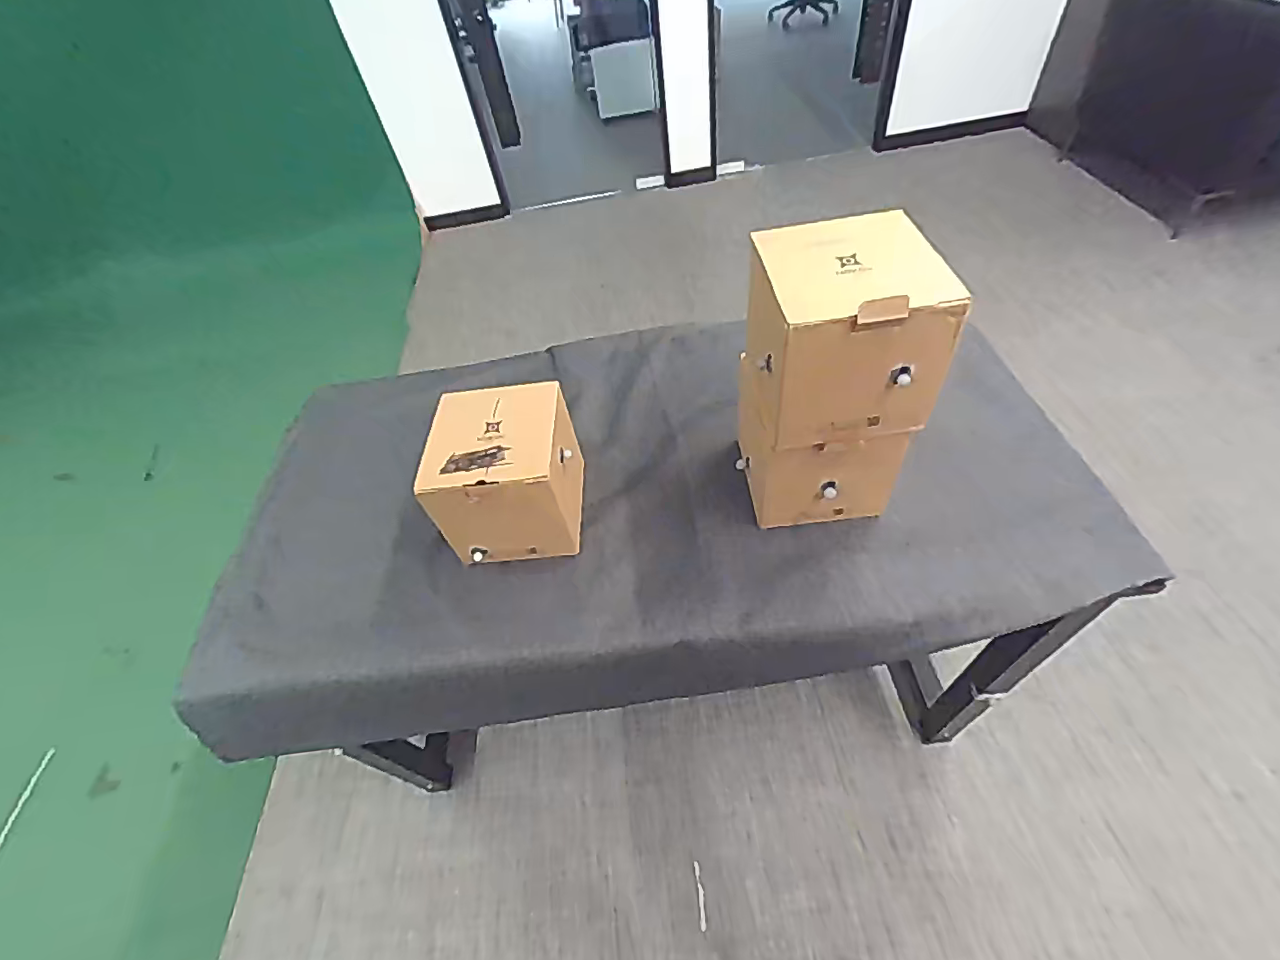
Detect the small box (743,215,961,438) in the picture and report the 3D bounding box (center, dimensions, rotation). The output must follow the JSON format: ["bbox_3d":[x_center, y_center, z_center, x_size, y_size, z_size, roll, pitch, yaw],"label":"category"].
[{"bbox_3d":[0.211,-0.161,0.597,0.168,0.176,0.179,-7,49,2],"label":"small box"}]

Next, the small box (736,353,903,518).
[{"bbox_3d":[0.224,-0.061,0.726,0.168,0.176,0.179,-7,50,3],"label":"small box"}]

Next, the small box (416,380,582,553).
[{"bbox_3d":[-0.178,-0.011,0.747,0.168,0.176,0.179,-5,49,4],"label":"small box"}]
